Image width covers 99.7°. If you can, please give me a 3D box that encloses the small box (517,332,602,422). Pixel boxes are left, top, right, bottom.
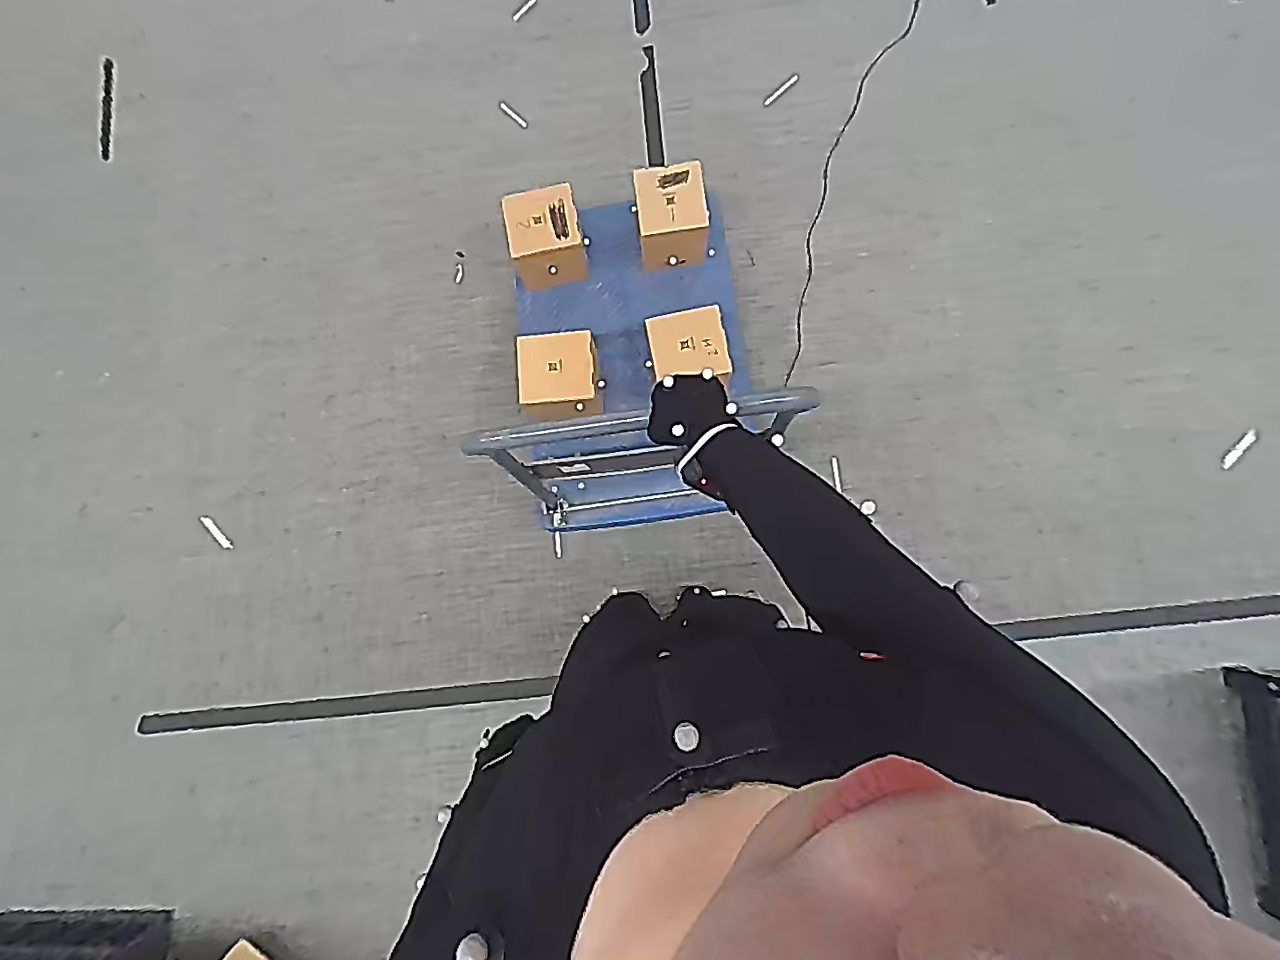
[{"bbox_3d":[-0.192,-0.246,1.327,0.179,0.176,0.168,-5,81,1],"label":"small box"}]

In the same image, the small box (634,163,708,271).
[{"bbox_3d":[0.076,-0.661,1.372,0.168,0.176,0.179,-7,82,2],"label":"small box"}]

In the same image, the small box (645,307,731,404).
[{"bbox_3d":[0.115,-0.294,1.316,0.179,0.176,0.168,-11,81,2],"label":"small box"}]
